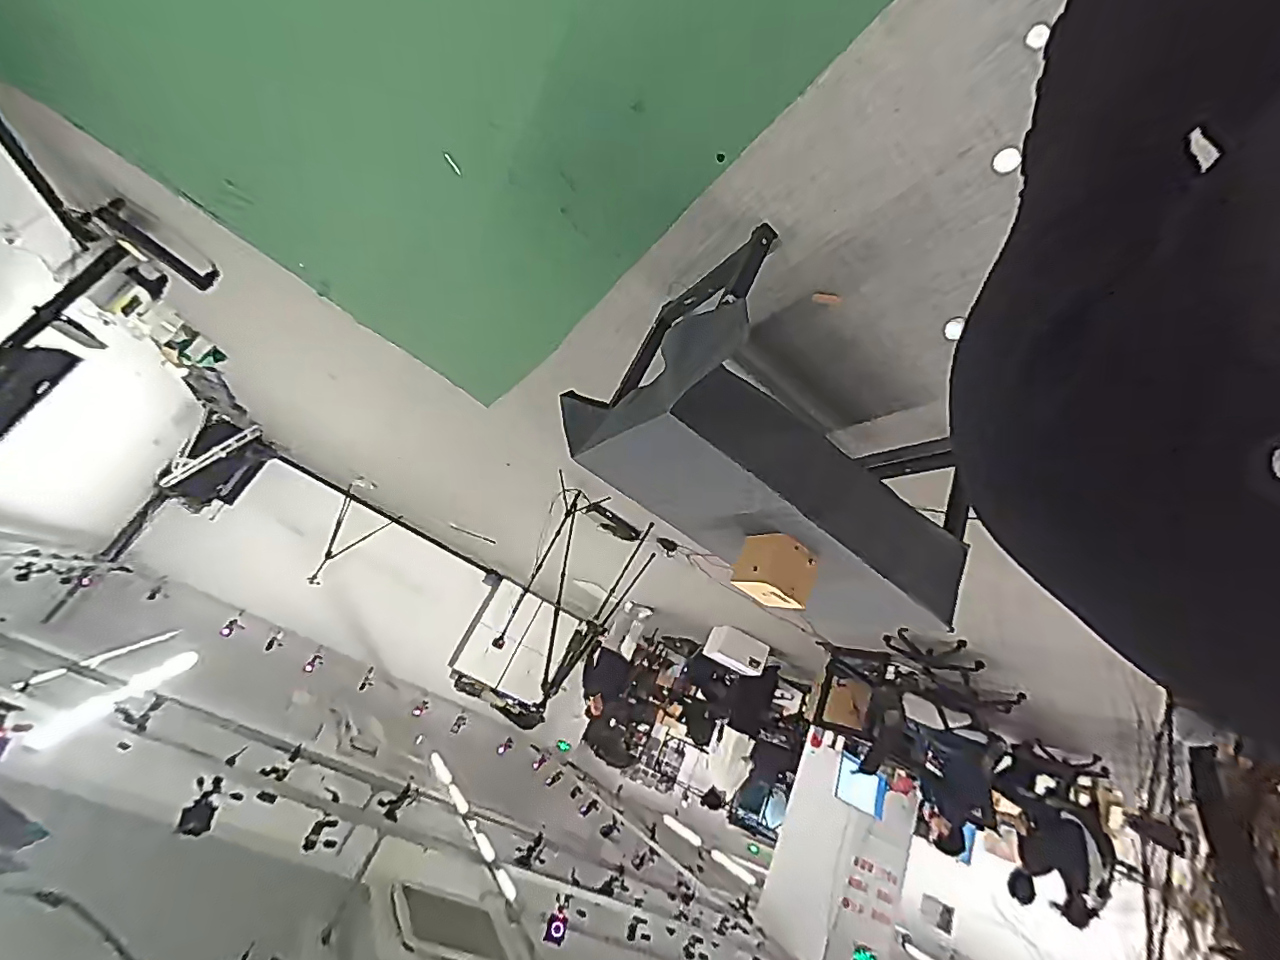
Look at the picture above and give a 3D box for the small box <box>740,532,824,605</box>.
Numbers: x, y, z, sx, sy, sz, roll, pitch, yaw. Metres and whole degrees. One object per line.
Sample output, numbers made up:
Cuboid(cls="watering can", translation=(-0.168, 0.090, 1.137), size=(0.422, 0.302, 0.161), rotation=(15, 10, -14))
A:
Cuboid(cls="small box", translation=(0.444, 0.270, 1.669), size=(0.168, 0.176, 0.179), rotation=(35, 157, -19))
